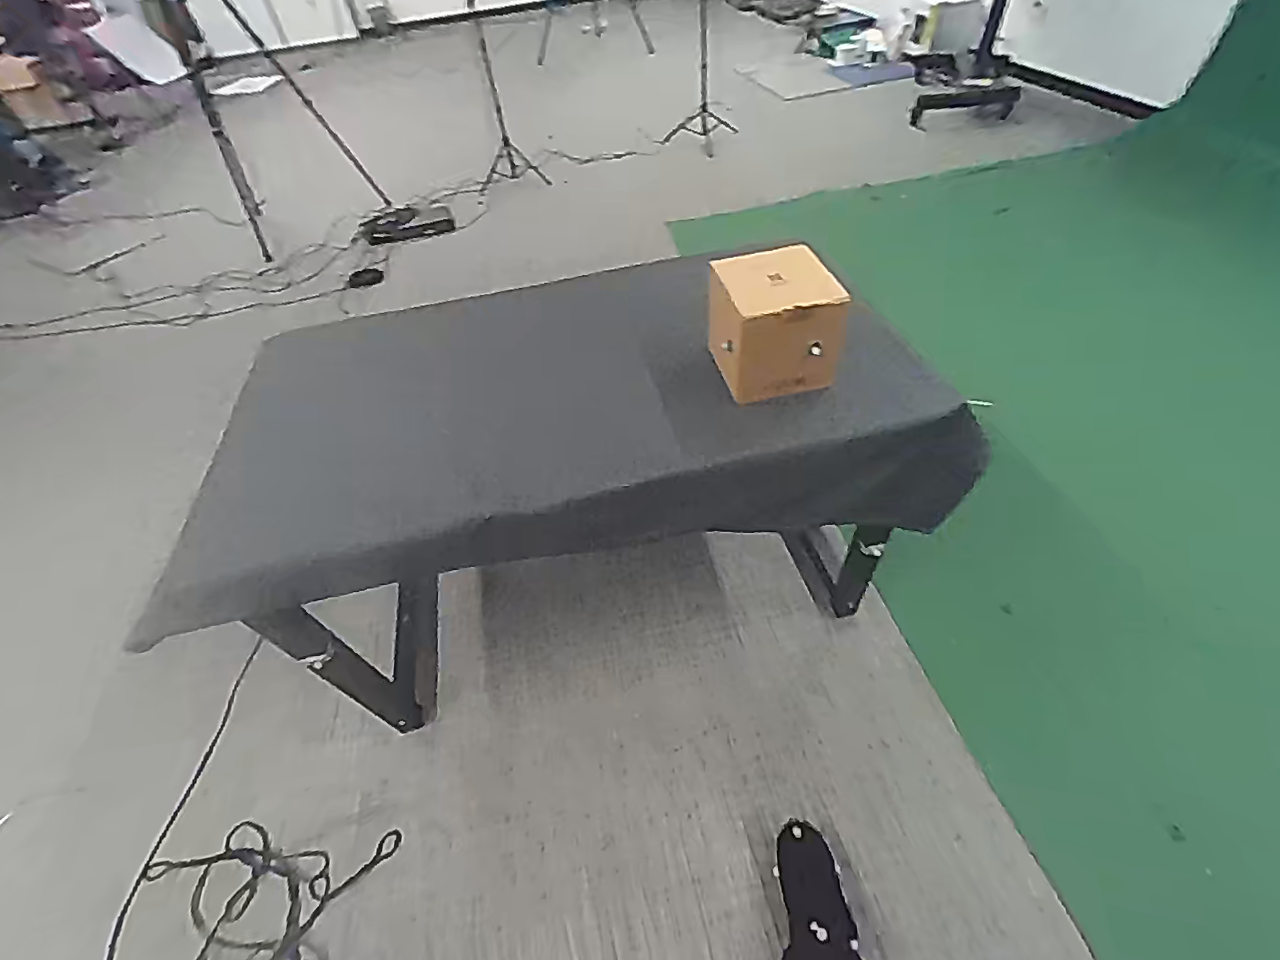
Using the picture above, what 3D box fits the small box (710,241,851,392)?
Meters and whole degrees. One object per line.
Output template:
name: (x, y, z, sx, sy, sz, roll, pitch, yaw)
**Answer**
small box: (0.215, -0.259, 0.879, 0.168, 0.176, 0.179, -11, 47, -5)
